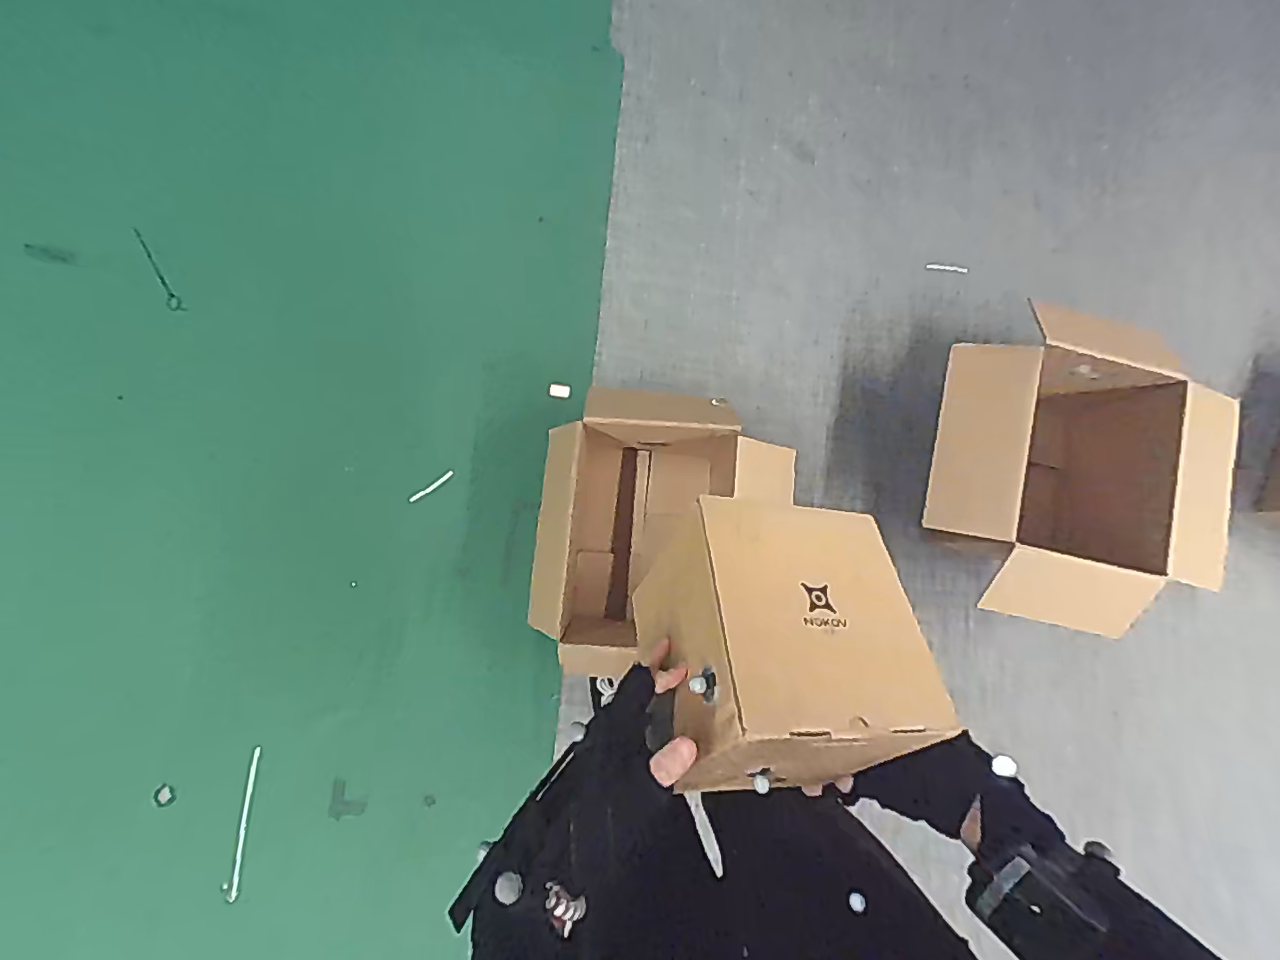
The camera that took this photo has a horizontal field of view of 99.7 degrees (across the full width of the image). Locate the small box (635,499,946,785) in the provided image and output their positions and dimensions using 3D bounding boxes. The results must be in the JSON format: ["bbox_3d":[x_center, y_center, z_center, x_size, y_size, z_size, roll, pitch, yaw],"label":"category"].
[{"bbox_3d":[0.100,0.141,0.454,0.168,0.176,0.179,7,52,-18],"label":"small box"}]
